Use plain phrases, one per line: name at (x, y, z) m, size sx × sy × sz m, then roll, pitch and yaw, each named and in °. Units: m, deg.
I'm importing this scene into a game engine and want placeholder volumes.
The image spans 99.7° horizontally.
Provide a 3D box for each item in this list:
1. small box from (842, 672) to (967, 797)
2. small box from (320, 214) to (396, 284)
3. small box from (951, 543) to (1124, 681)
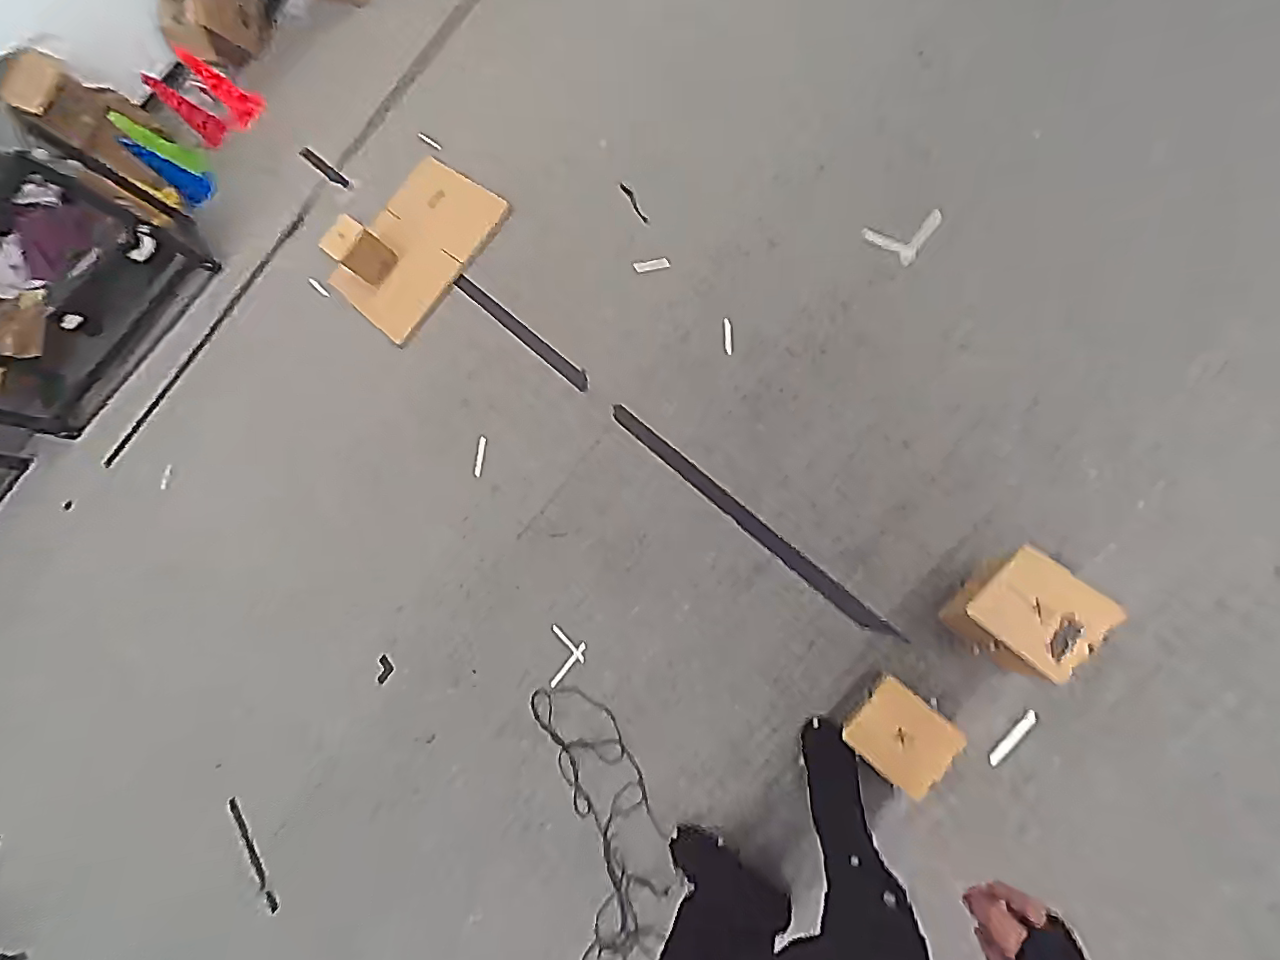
small box at (0.557, 0.534, 1.164) m, size 0.179 × 0.176 × 0.168 m, roll 38°, pitch 91°, yaw 25°
small box at (-1.133, -0.926, 2.180) m, size 0.179 × 0.176 × 0.168 m, roll 39°, pitch 92°, yaw 25°
small box at (0.716, 0.241, 1.001) m, size 0.179 × 0.176 × 0.168 m, roll 42°, pitch 92°, yaw 26°
